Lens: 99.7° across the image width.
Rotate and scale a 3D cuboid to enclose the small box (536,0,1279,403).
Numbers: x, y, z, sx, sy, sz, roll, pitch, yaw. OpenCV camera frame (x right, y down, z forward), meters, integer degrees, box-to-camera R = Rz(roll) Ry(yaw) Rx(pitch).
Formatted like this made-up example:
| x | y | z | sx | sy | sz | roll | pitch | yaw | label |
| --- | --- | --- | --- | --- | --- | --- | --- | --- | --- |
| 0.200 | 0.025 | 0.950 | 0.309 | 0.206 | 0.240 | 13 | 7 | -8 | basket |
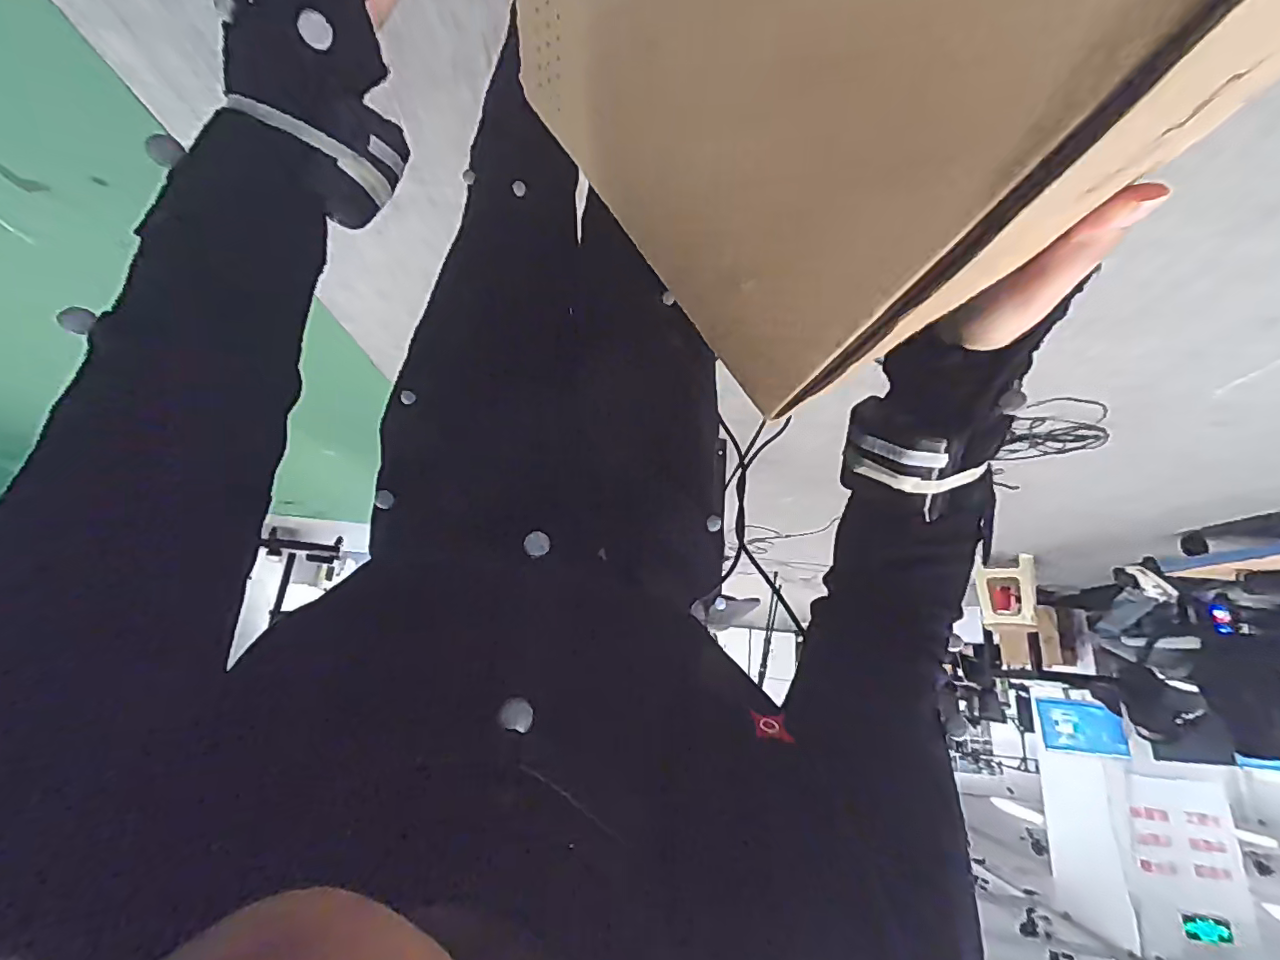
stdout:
| x | y | z | sx | sy | sz | roll | pitch | yaw | label |
| --- | --- | --- | --- | --- | --- | --- | --- | --- | --- |
| 0.081 | -0.154 | 0.142 | 0.168 | 0.176 | 0.179 | -33 | 173 | -14 | small box |
